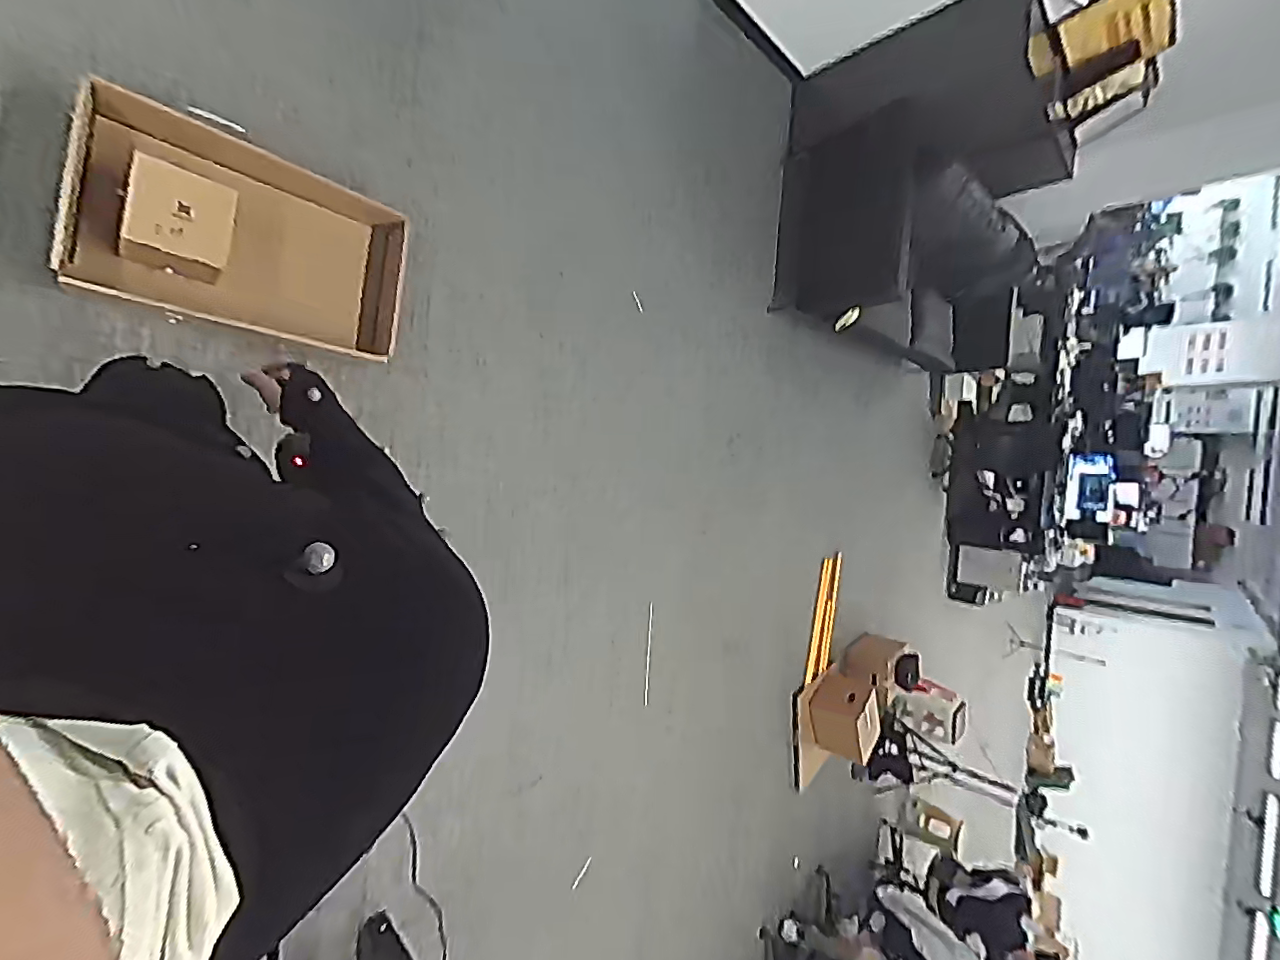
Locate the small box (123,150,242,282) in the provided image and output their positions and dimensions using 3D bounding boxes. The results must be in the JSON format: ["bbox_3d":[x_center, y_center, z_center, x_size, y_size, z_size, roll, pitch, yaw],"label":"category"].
[{"bbox_3d":[-0.974,-0.547,1.149,0.168,0.176,0.179,10,86,-44],"label":"small box"}]
